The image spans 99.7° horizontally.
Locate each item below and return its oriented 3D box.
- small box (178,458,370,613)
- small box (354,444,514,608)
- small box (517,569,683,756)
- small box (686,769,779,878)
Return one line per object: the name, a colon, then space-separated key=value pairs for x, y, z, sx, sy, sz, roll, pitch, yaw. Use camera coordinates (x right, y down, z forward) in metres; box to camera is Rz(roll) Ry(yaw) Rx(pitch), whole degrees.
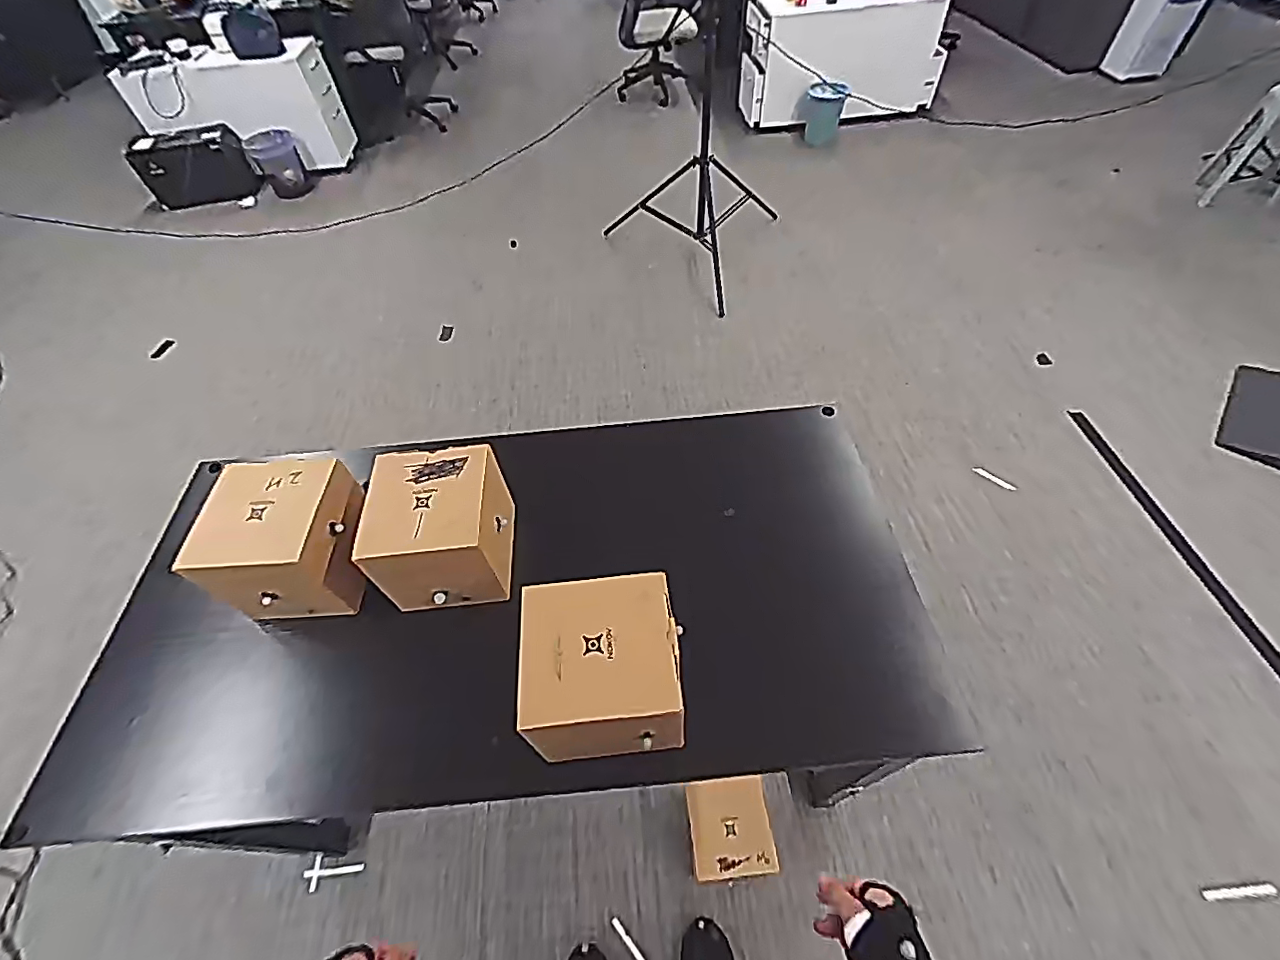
small box: x=-0.514 y=0.089 z=0.807 sx=0.168 sy=0.176 sz=0.179 roll=-3 pitch=53 yaw=0
small box: x=-0.290 y=0.070 z=0.806 sx=0.168 sy=0.176 sz=0.179 roll=-6 pitch=54 yaw=-1
small box: x=-0.044 y=0.230 z=0.671 sx=0.179 sy=0.176 sz=0.168 roll=-7 pitch=51 yaw=0
small box: x=0.191 y=0.748 z=1.176 sx=0.168 sy=0.176 sz=0.179 roll=-7 pitch=53 yaw=0
